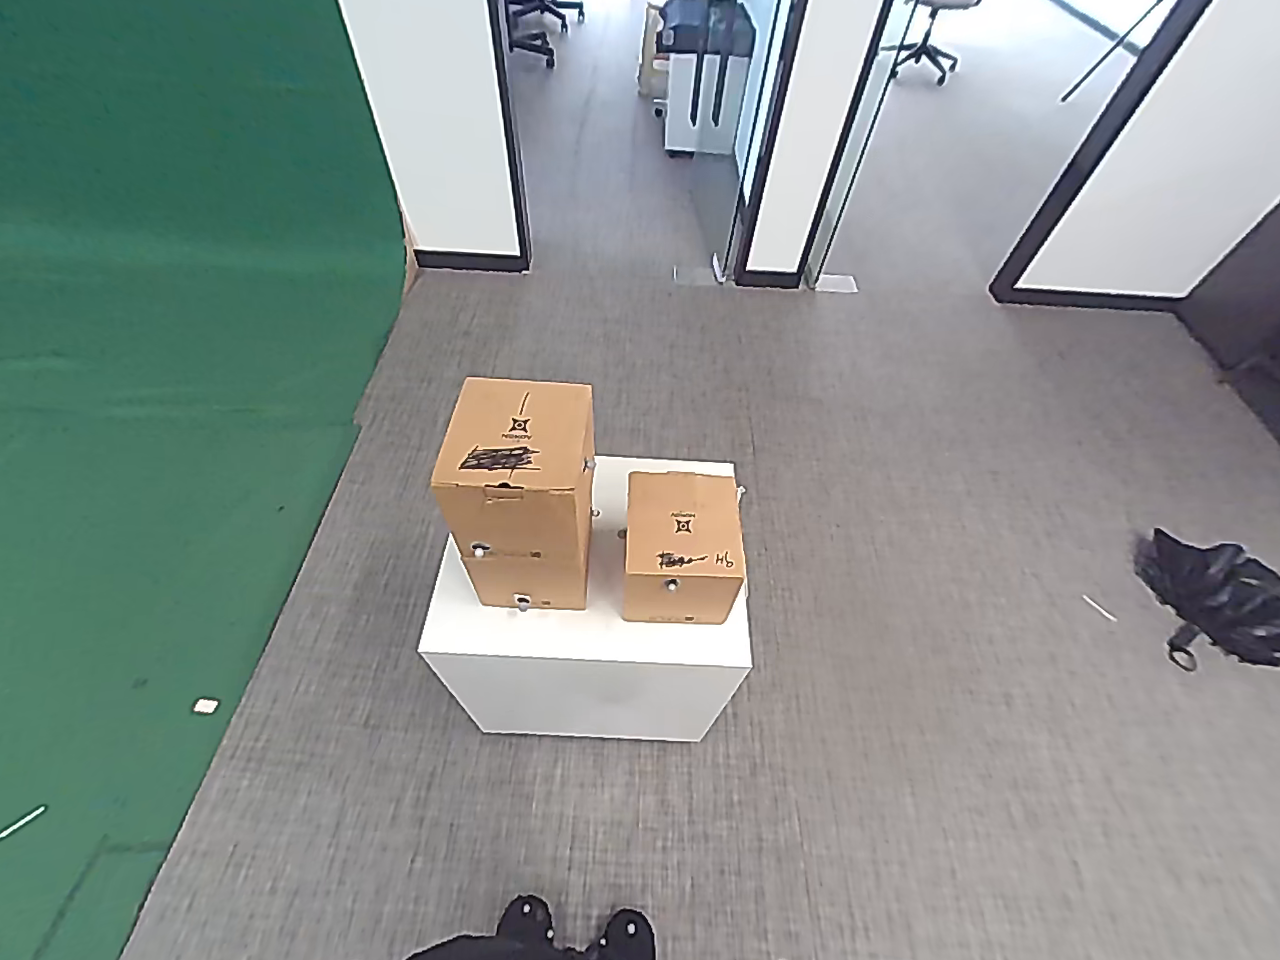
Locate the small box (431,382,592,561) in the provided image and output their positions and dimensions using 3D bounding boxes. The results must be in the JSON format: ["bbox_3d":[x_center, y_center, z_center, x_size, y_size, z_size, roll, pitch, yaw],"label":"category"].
[{"bbox_3d":[-0.155,-0.007,0.724,0.168,0.176,0.179,4,51,0],"label":"small box"}]

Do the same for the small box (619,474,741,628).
[{"bbox_3d":[0.055,0.113,0.851,0.168,0.176,0.179,3,52,-2],"label":"small box"}]

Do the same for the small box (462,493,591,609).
[{"bbox_3d":[-0.163,0.083,0.841,0.168,0.176,0.179,1,54,-2],"label":"small box"}]
